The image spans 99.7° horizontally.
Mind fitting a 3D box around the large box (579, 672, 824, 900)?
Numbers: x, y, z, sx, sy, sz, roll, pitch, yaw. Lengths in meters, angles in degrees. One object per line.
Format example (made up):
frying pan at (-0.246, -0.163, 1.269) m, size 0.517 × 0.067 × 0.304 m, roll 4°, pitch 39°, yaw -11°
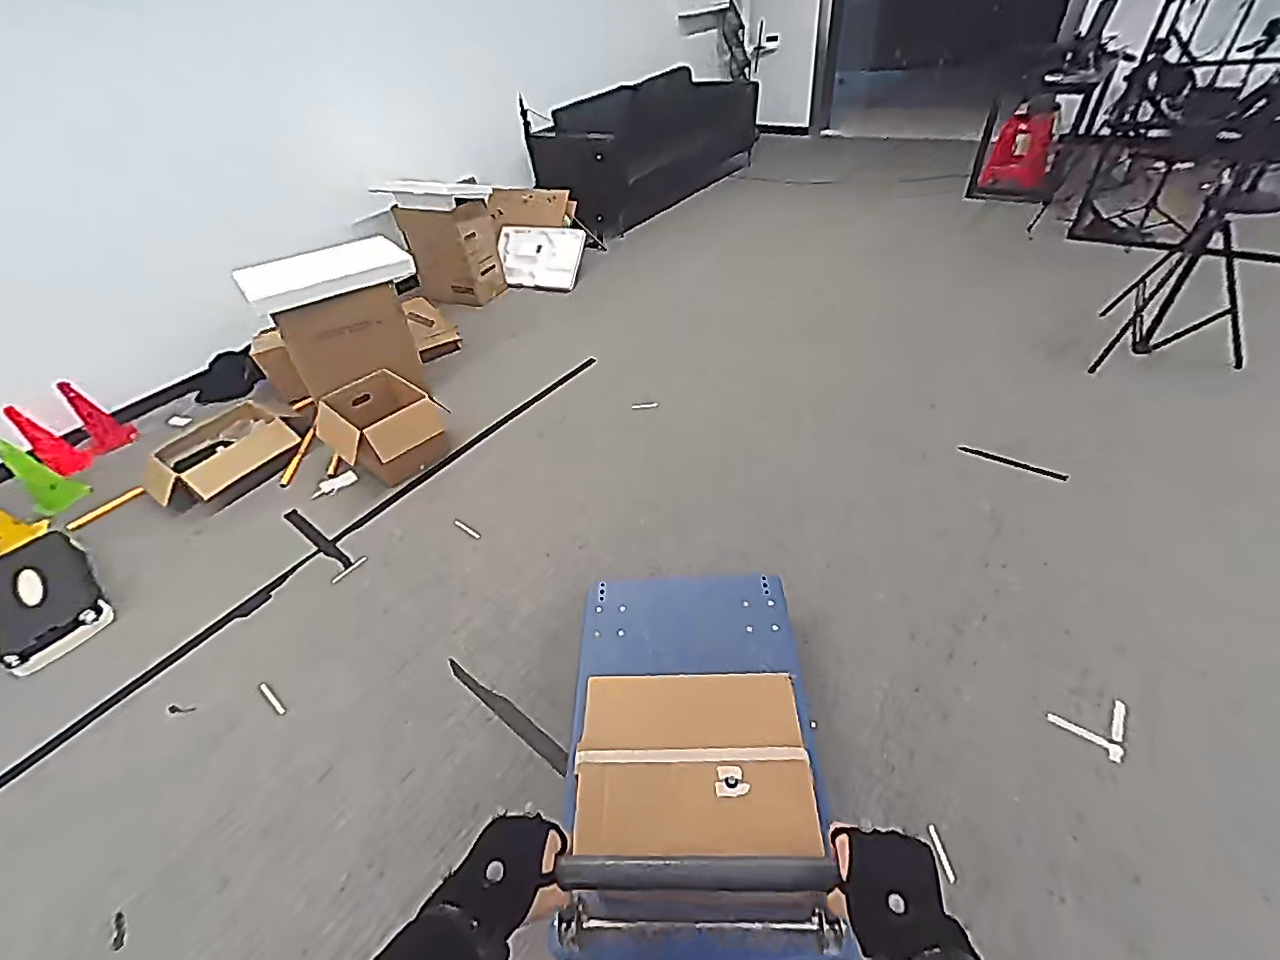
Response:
large box at (0.105, 0.606, 1.073) m, size 0.408 × 0.320 × 0.320 m, roll -2°, pitch 43°, yaw 3°
